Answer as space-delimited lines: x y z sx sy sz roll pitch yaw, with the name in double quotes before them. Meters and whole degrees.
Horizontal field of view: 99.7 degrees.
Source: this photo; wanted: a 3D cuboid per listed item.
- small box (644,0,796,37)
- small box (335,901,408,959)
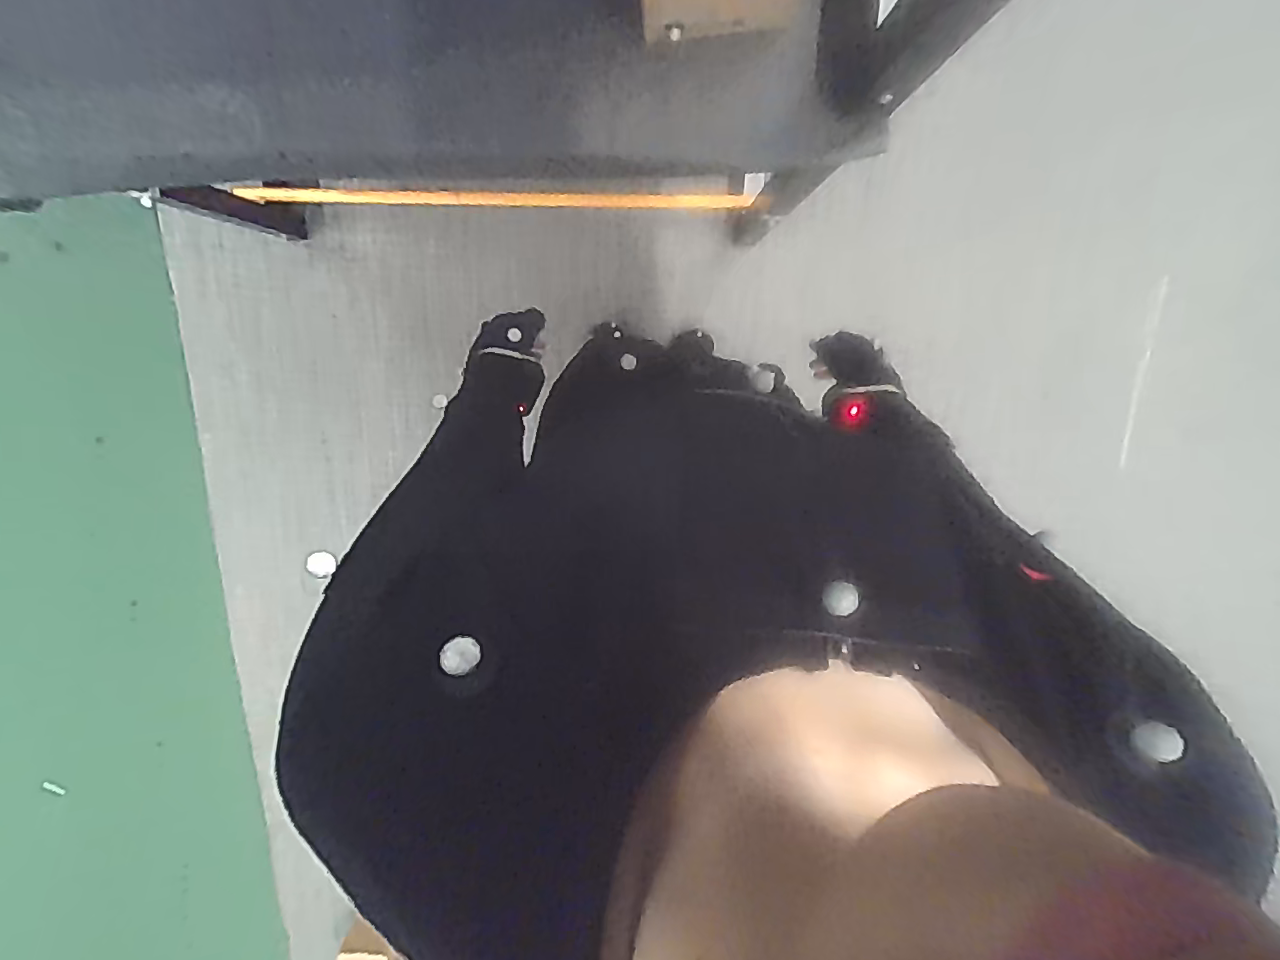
"small box" 0.080 -0.574 0.527 0.168 0.176 0.179 -5 102 3
"small box" -0.897 1.575 1.823 0.168 0.176 0.179 3 103 0
